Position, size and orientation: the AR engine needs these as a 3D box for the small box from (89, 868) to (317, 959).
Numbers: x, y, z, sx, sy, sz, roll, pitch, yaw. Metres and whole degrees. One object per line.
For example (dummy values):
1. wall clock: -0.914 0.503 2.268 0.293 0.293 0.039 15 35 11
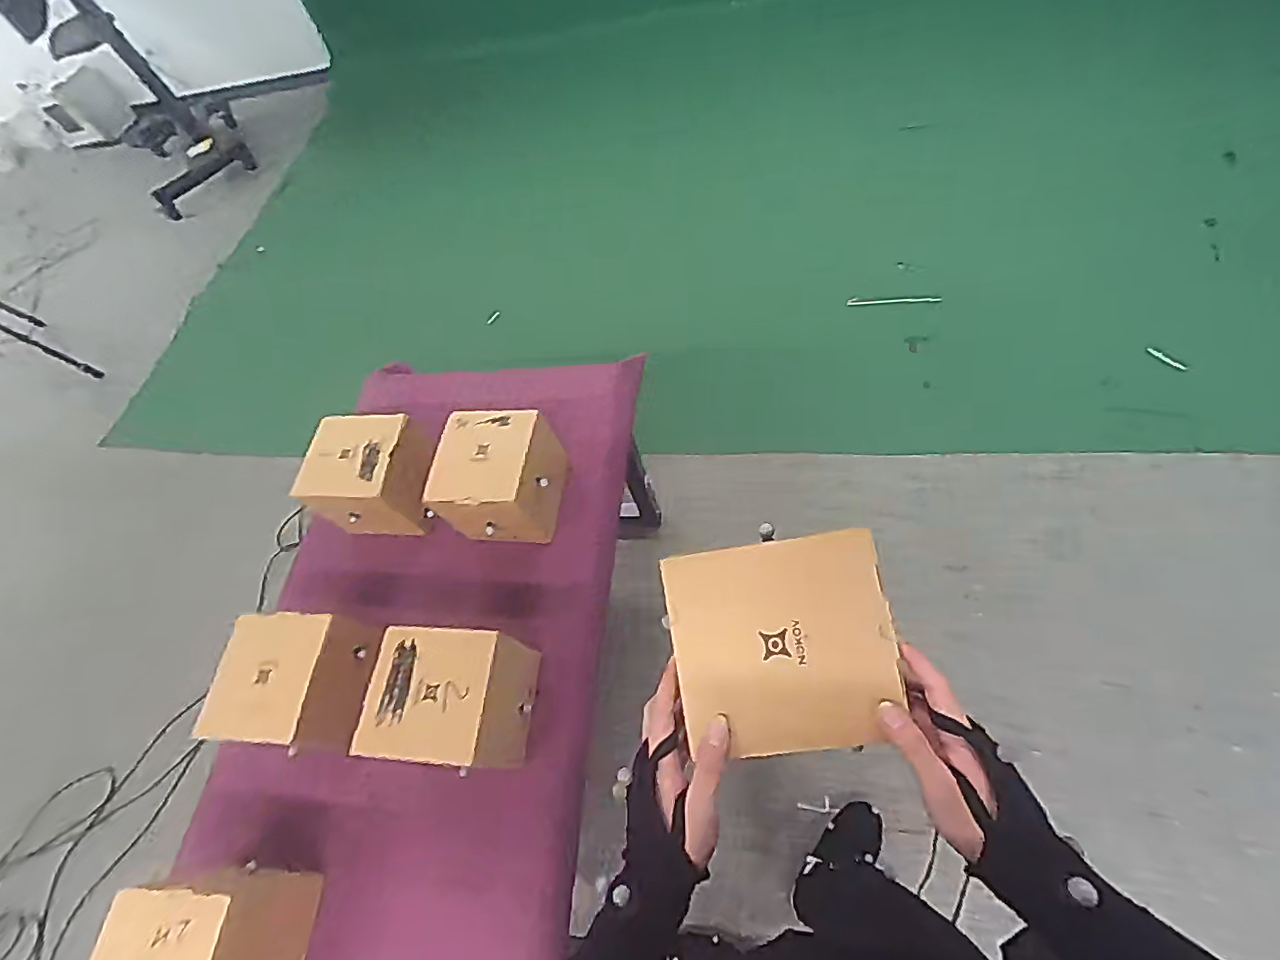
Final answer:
1. small box: -0.549 0.612 0.678 0.168 0.176 0.179 -3 61 11

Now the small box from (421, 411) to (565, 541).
1. small box: -0.244 -0.001 0.943 0.168 0.176 0.179 1 63 14

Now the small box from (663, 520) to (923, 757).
1. small box: 0.127 0.135 0.501 0.179 0.176 0.168 -10 81 7

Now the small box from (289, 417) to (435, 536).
1. small box: -0.488 -0.002 1.001 0.179 0.176 0.168 0 62 13

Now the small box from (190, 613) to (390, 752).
1. small box: -0.521 0.316 0.837 0.168 0.176 0.179 -2 62 12
